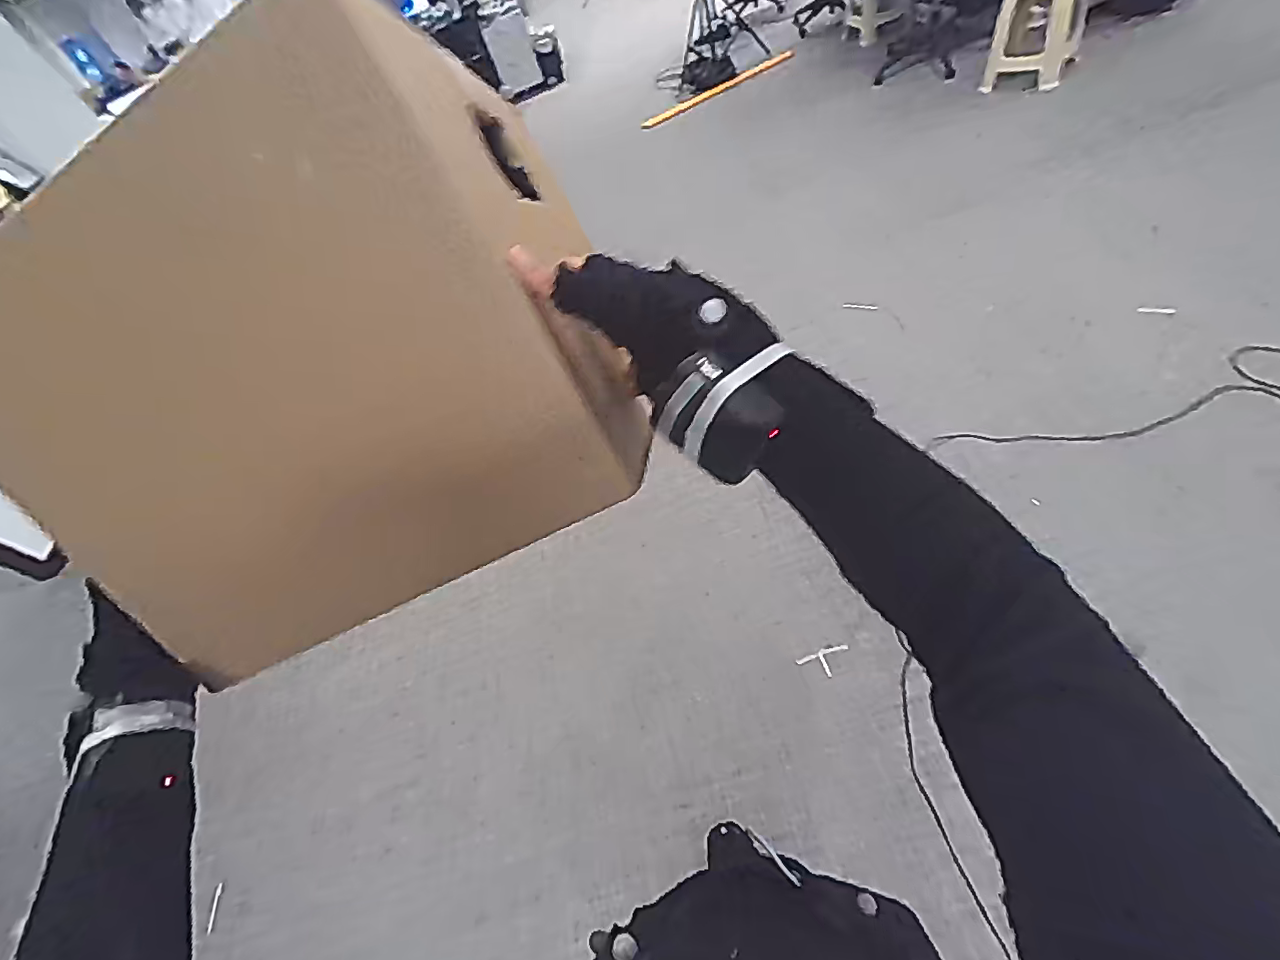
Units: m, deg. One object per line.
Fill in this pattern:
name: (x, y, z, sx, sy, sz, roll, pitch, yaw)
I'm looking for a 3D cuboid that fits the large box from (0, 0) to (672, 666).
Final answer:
large box: (-0.219, -0.099, 0.495, 0.408, 0.320, 0.320, -24, 18, 14)
